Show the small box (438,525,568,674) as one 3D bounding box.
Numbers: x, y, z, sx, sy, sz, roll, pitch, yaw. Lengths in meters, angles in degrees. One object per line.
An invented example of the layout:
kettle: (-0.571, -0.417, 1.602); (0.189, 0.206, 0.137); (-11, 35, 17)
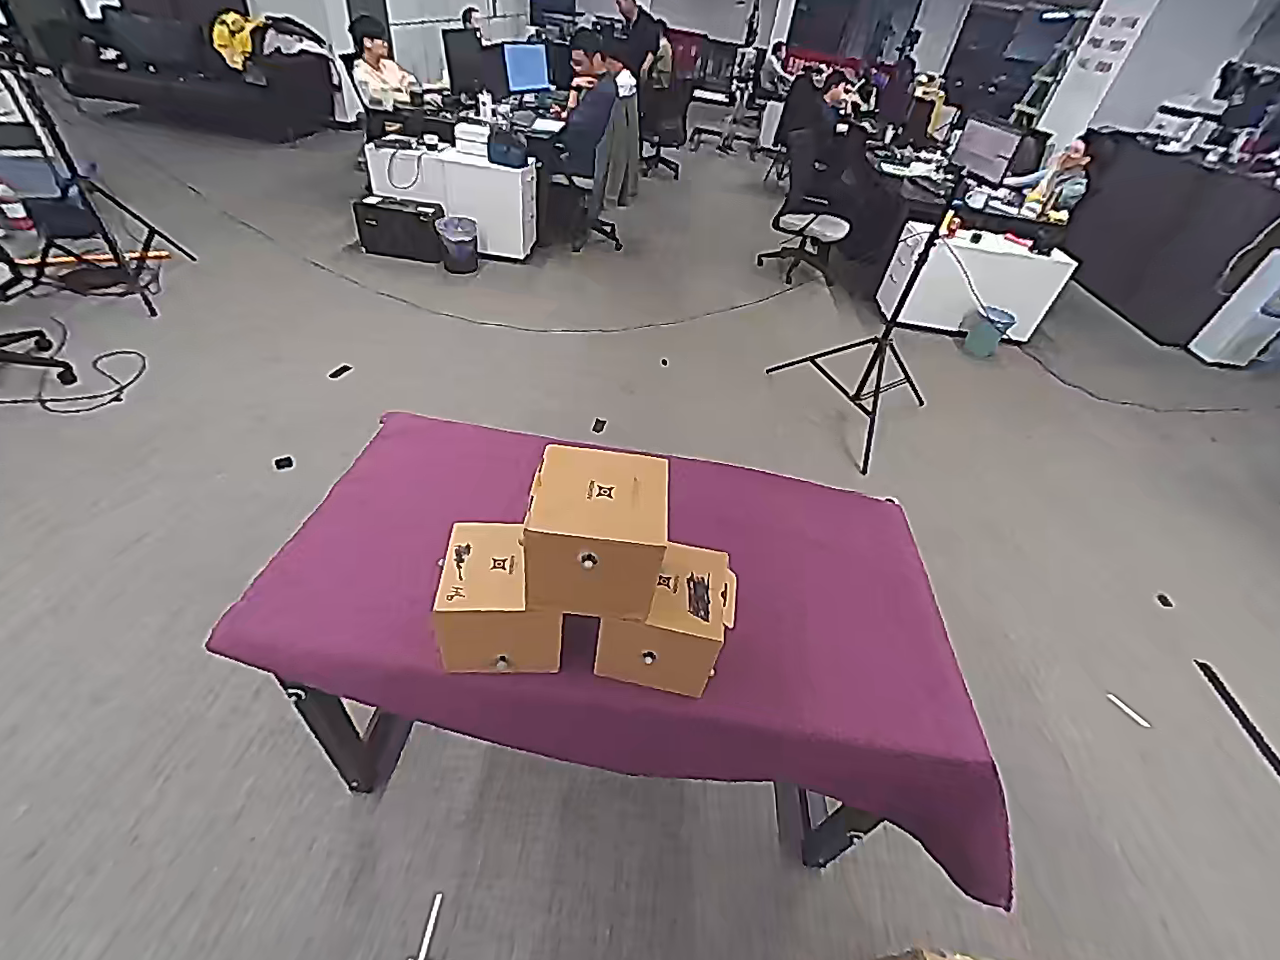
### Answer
small box: (-0.206, 0.191, 0.854); (0.179, 0.176, 0.168); (3, 40, -9)

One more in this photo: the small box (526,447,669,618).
small box: (-0.058, 0.076, 0.762); (0.179, 0.176, 0.168); (7, 42, -4)

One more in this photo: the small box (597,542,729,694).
small box: (0.036, 0.218, 0.866); (0.179, 0.176, 0.168); (11, 40, 4)
